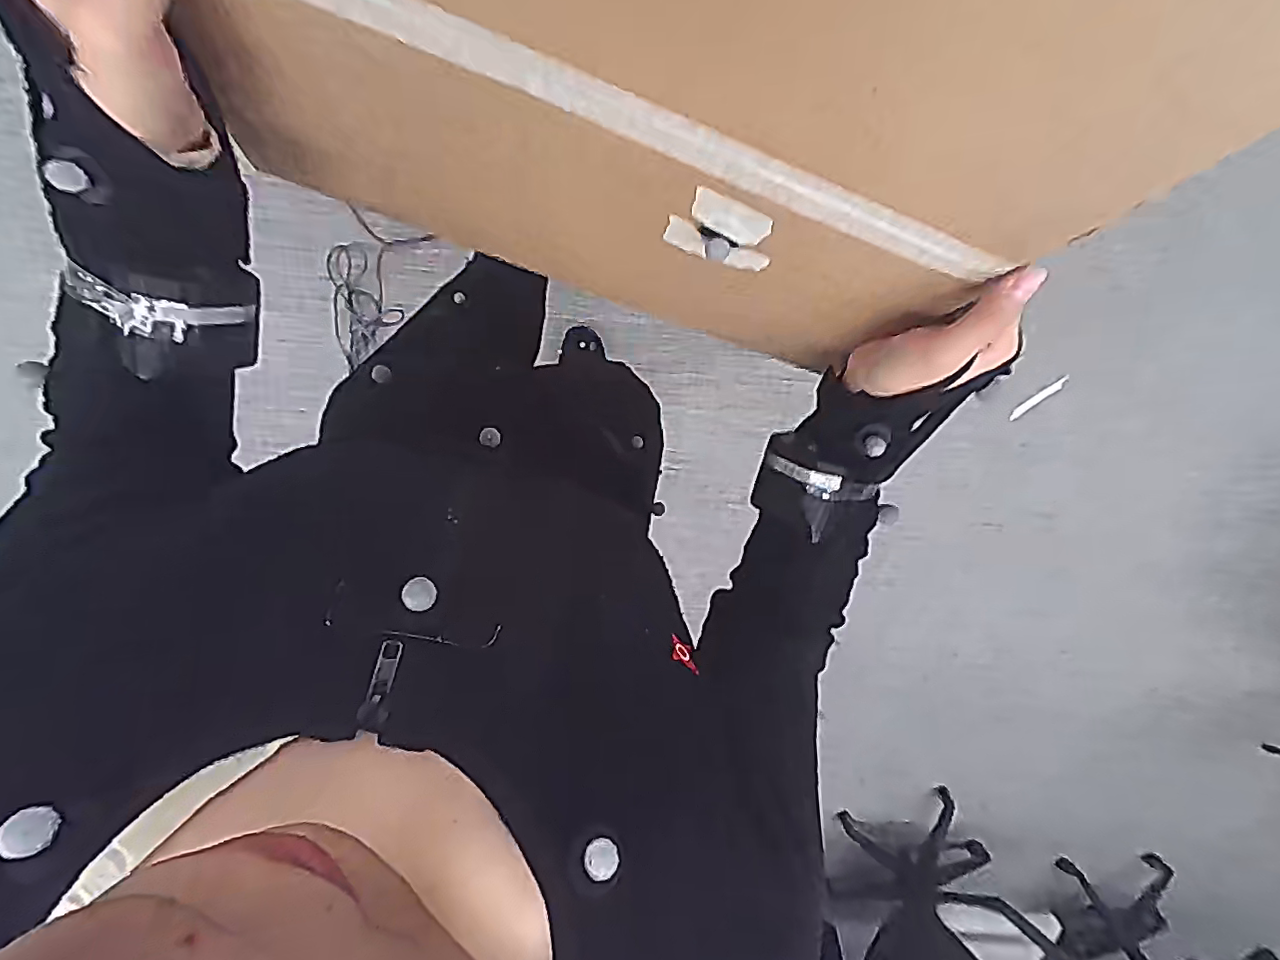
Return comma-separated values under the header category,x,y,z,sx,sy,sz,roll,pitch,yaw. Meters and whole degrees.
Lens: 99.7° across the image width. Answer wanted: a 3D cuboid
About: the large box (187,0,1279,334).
category,x,y,z,sx,sy,sz,roll,pitch,yaw
large box,0.039,-0.317,0.228,0.408,0.320,0.320,15,80,-12
